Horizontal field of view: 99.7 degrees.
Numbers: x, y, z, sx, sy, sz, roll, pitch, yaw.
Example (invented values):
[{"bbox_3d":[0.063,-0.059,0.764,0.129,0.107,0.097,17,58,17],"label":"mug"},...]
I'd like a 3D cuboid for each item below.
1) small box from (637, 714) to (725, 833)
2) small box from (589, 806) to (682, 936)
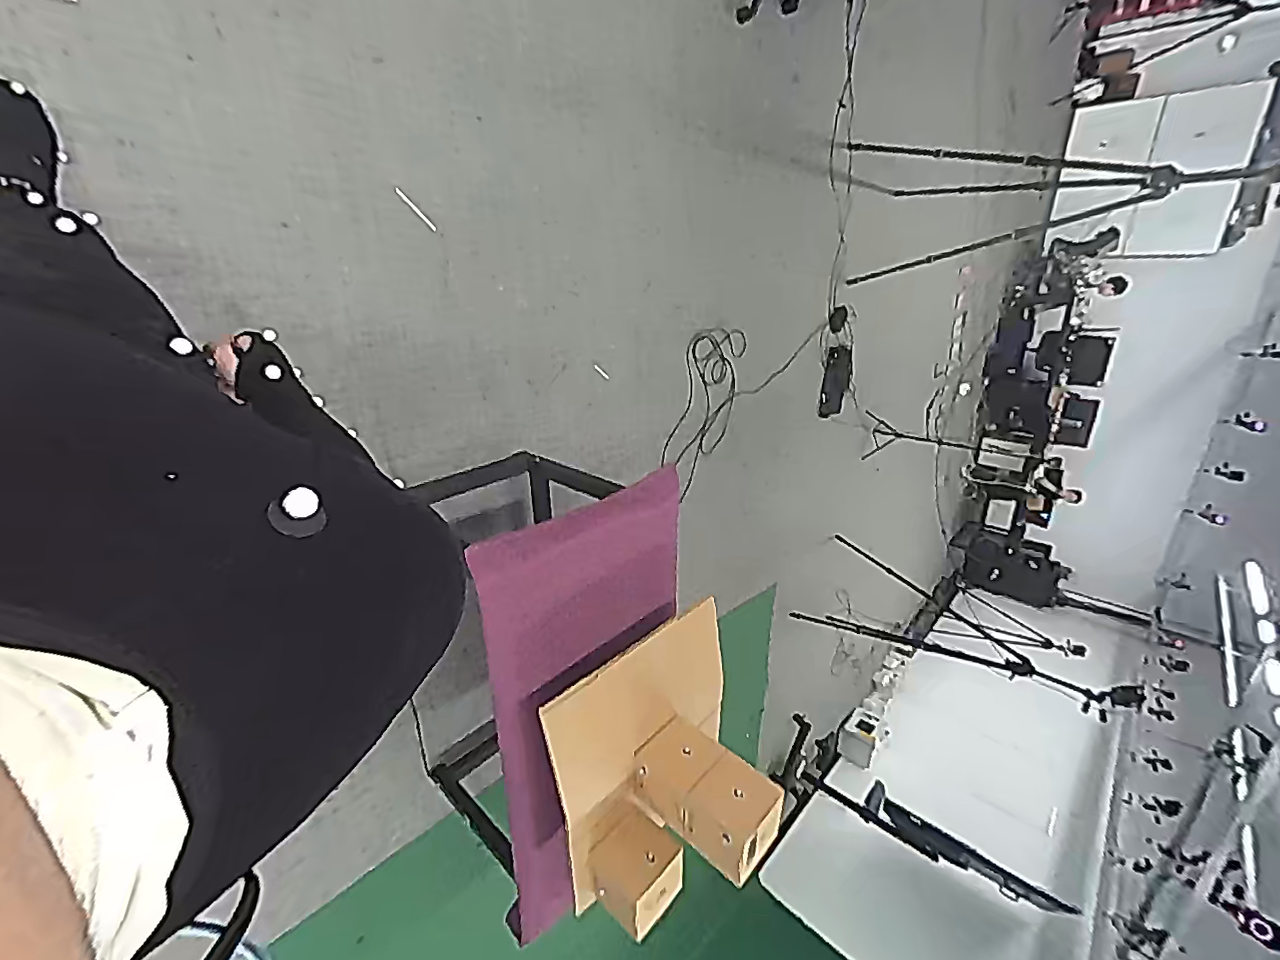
[{"bbox_3d":[0.104,0.766,1.429,0.179,0.176,0.168,-25,125,-41],"label":"small box"},{"bbox_3d":[-0.012,1.000,1.400,0.179,0.176,0.168,-23,122,-41],"label":"small box"}]
